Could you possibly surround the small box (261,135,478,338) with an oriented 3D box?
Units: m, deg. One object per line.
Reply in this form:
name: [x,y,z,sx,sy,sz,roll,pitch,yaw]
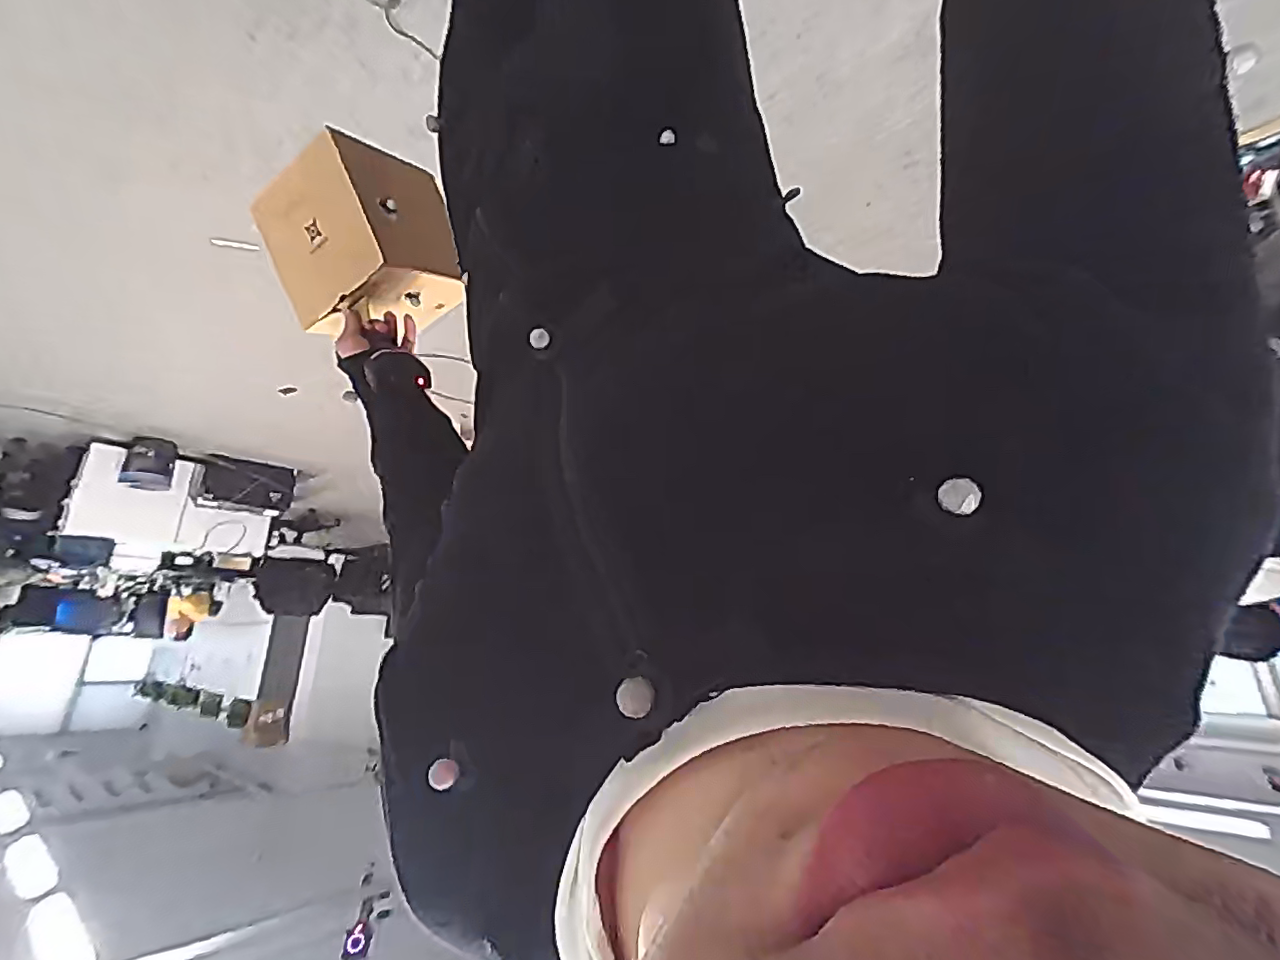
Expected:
small box: [-0.350,-0.303,0.723,0.168,0.179,0.176,-24,178,25]
